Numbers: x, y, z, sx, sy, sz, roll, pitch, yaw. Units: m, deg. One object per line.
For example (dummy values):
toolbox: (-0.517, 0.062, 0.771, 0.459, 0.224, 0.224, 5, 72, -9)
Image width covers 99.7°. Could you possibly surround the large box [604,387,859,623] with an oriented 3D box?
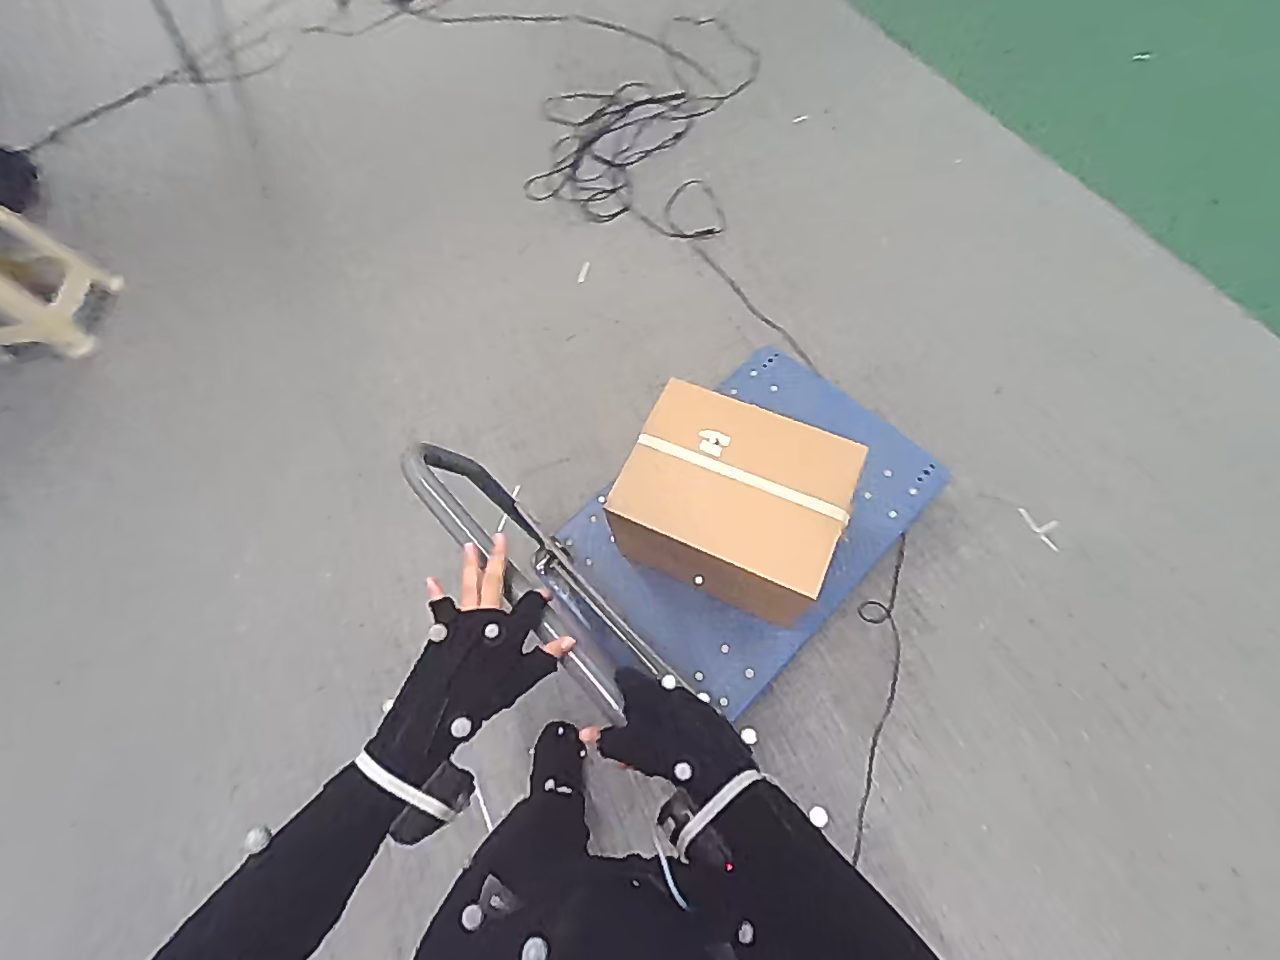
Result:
large box: (0.187, 0.064, 1.143, 0.408, 0.320, 0.320, 21, 68, 14)
